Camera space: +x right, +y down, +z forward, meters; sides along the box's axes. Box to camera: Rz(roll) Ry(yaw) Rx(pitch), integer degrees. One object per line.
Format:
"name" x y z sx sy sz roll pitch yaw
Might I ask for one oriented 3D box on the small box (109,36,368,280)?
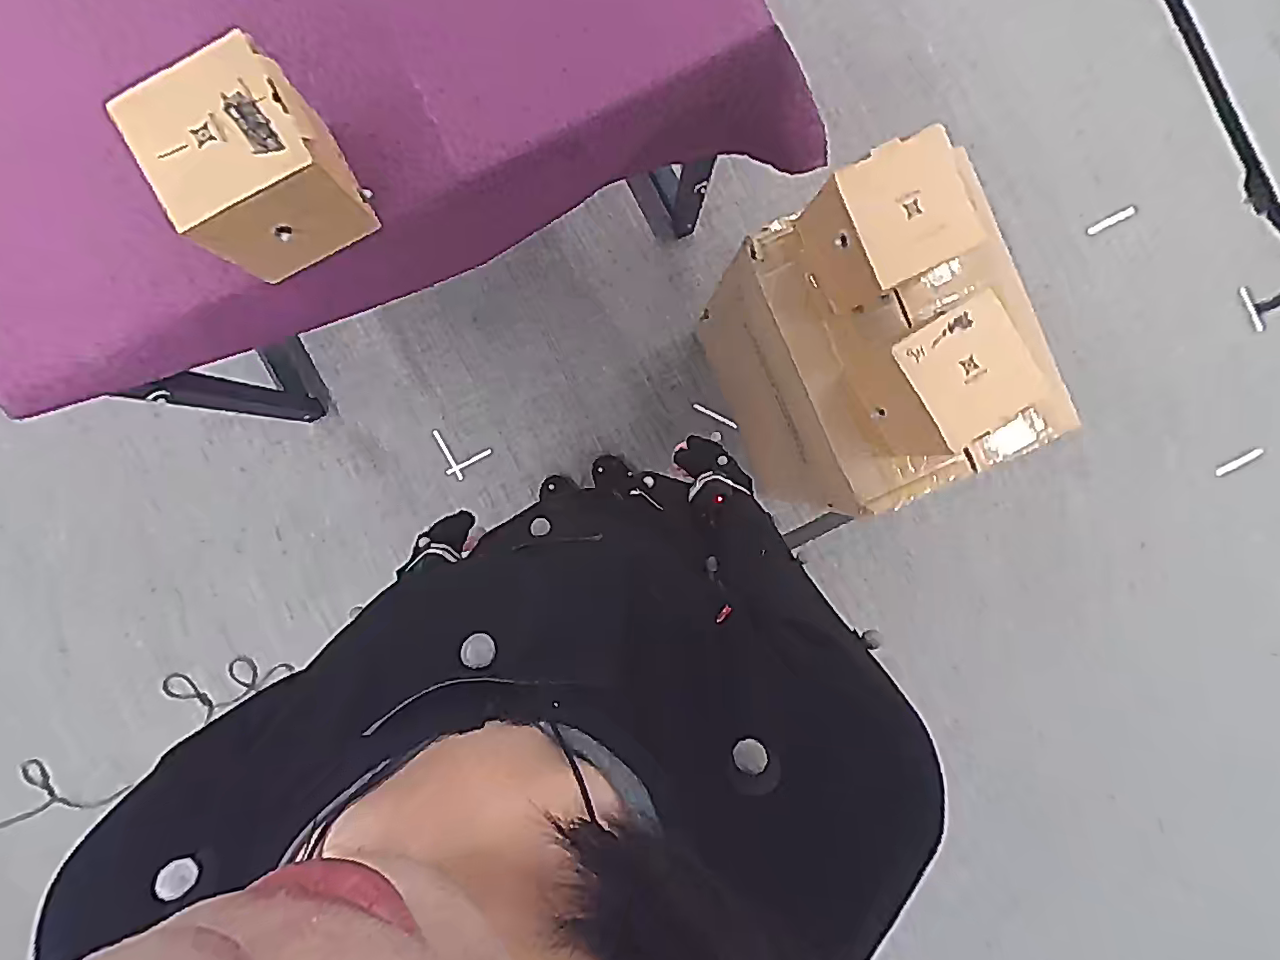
"small box" -0.477 -0.385 0.681 0.179 0.176 0.168 -28 91 -1

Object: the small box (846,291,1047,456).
"small box" 0.454 -0.152 0.828 0.168 0.176 0.179 -32 92 0
